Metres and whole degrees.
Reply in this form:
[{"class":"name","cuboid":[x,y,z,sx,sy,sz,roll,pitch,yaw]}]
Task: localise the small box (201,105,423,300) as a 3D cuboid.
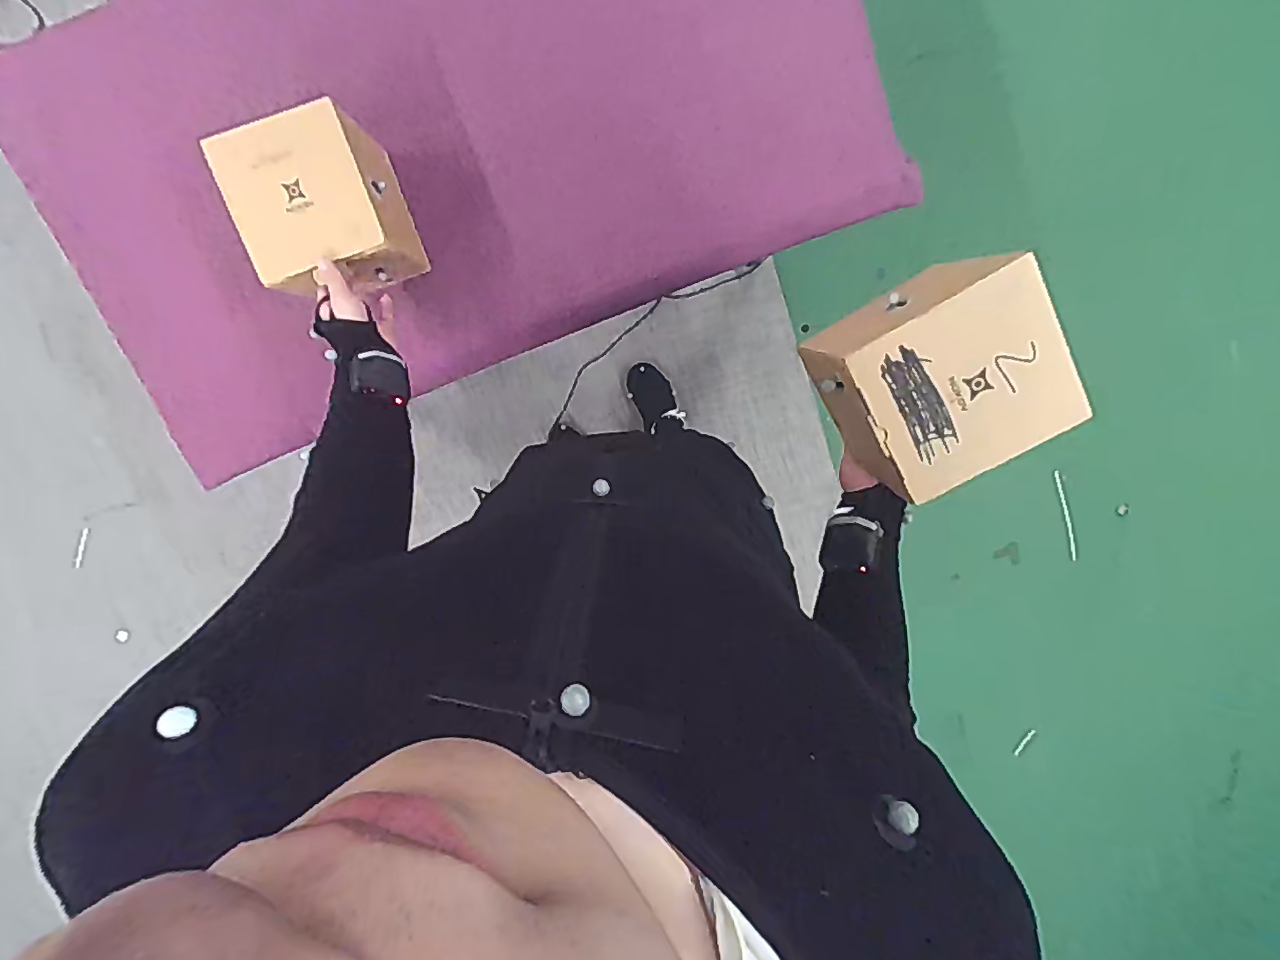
[{"class":"small box","cuboid":[-0.423,-0.356,0.734,0.168,0.176,0.179,-18,101,0]}]
